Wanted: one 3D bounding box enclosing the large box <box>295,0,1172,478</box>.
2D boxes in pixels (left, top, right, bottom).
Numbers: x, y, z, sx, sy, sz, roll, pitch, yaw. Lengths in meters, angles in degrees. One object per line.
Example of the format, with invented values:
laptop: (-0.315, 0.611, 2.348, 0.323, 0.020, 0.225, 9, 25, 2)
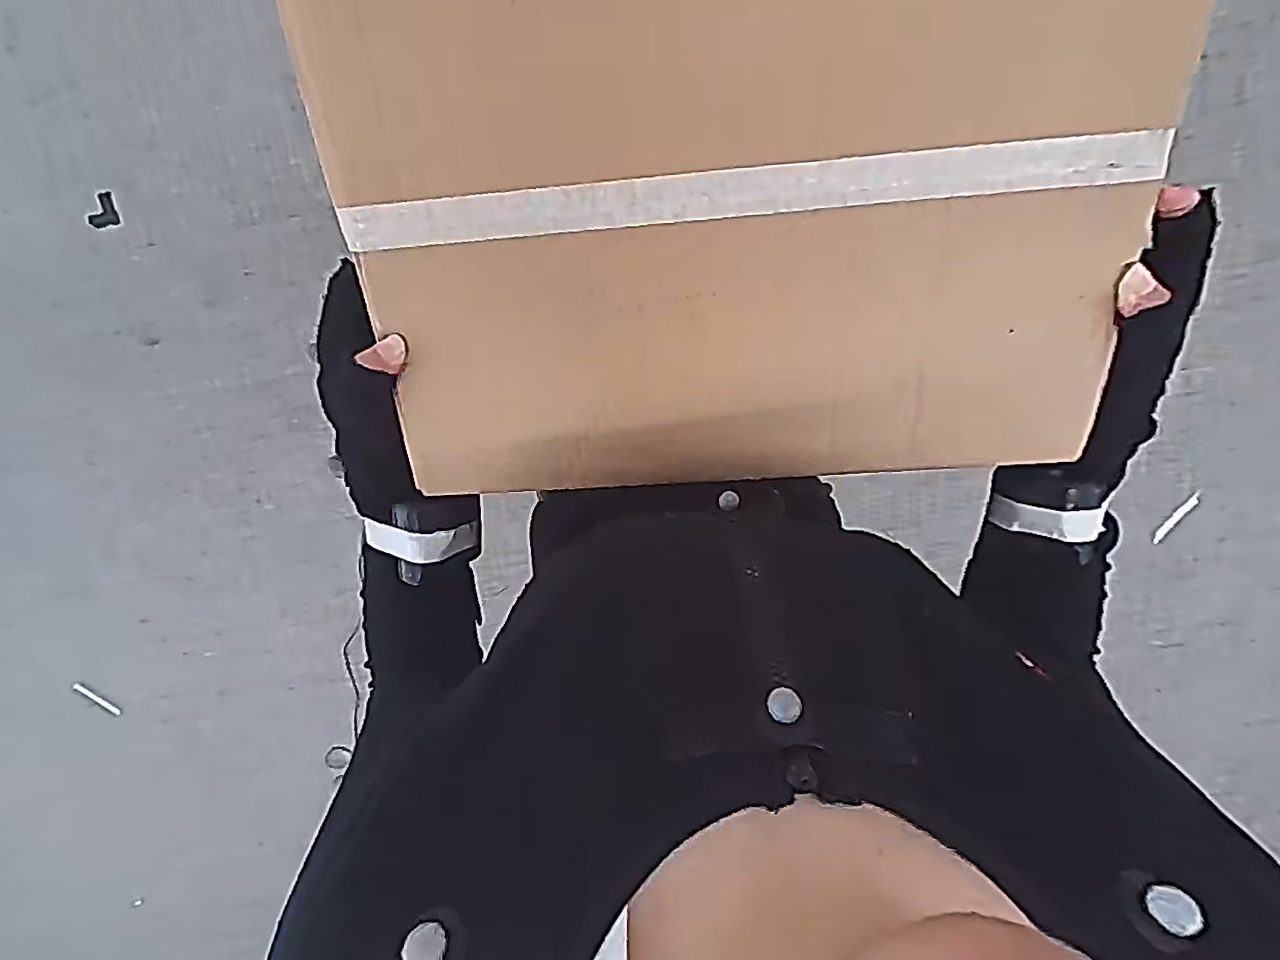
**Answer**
large box: (0.046, -0.215, 0.414, 0.408, 0.320, 0.320, -3, 116, 3)
